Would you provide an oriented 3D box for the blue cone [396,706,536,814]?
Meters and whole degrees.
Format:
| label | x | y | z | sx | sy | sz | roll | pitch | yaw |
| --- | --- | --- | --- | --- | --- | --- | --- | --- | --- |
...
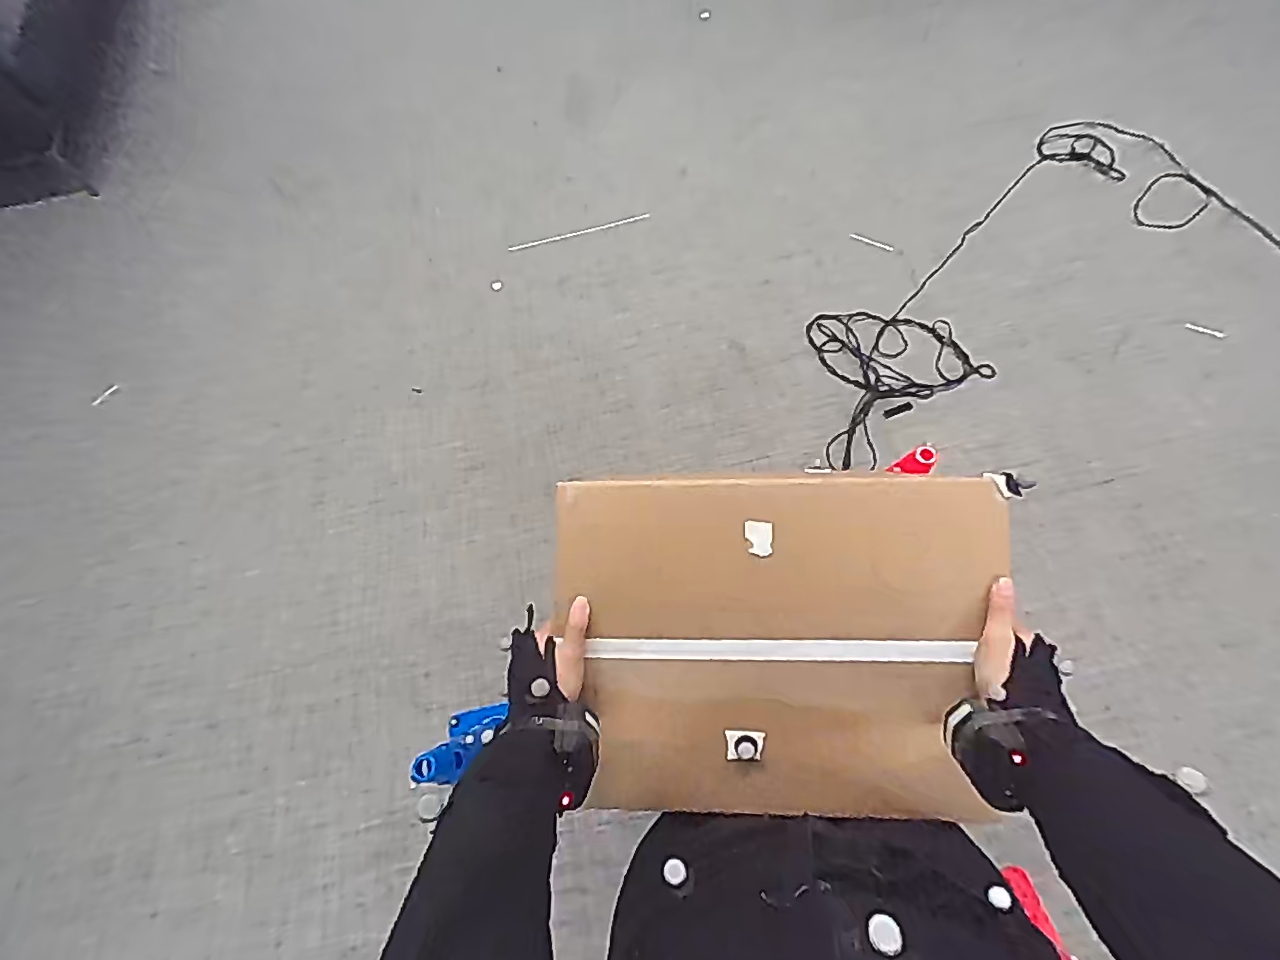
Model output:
| label | x | y | z | sx | sy | sz | roll | pitch | yaw |
| --- | --- | --- | --- | --- | --- | --- | --- | --- | --- |
| blue cone | -0.341 | 0.536 | 1.026 | 0.192 | 0.380 | 0.193 | -13 | 65 | 1 |

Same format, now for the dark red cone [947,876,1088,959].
| label | x | y | z | sx | sy | sz | roll | pitch | yaw |
| --- | --- | --- | --- | --- | --- | --- | --- | --- | --- |
| dark red cone | 0.642 | 0.760 | 0.774 | 0.202 | 0.394 | 0.201 | -19 | 69 | -2 |
